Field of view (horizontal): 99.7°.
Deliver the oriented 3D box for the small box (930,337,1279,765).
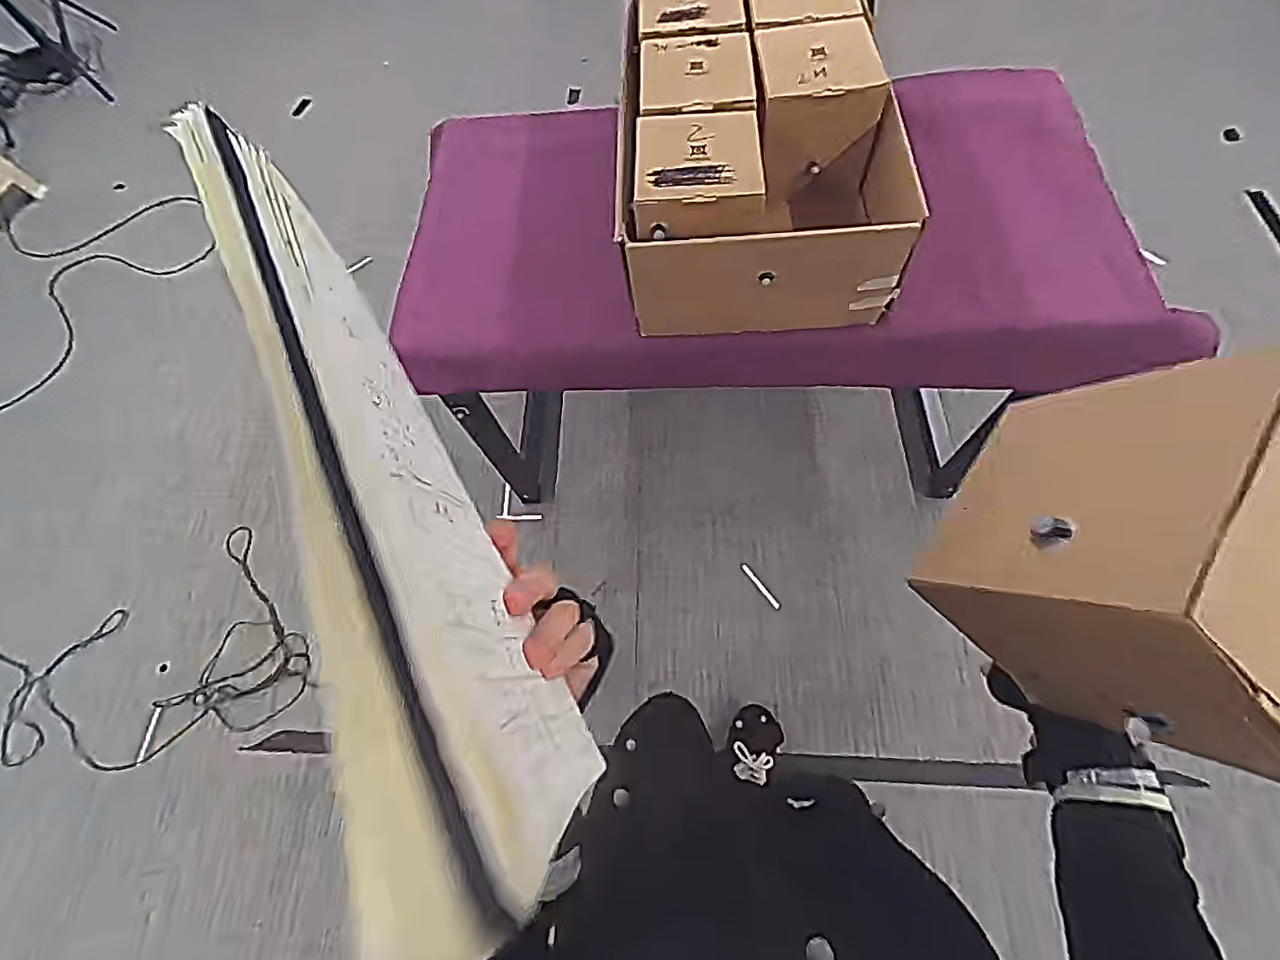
[{"bbox_3d":[0.323,0.047,0.338,0.168,0.176,0.179,40,76,-10],"label":"small box"}]
